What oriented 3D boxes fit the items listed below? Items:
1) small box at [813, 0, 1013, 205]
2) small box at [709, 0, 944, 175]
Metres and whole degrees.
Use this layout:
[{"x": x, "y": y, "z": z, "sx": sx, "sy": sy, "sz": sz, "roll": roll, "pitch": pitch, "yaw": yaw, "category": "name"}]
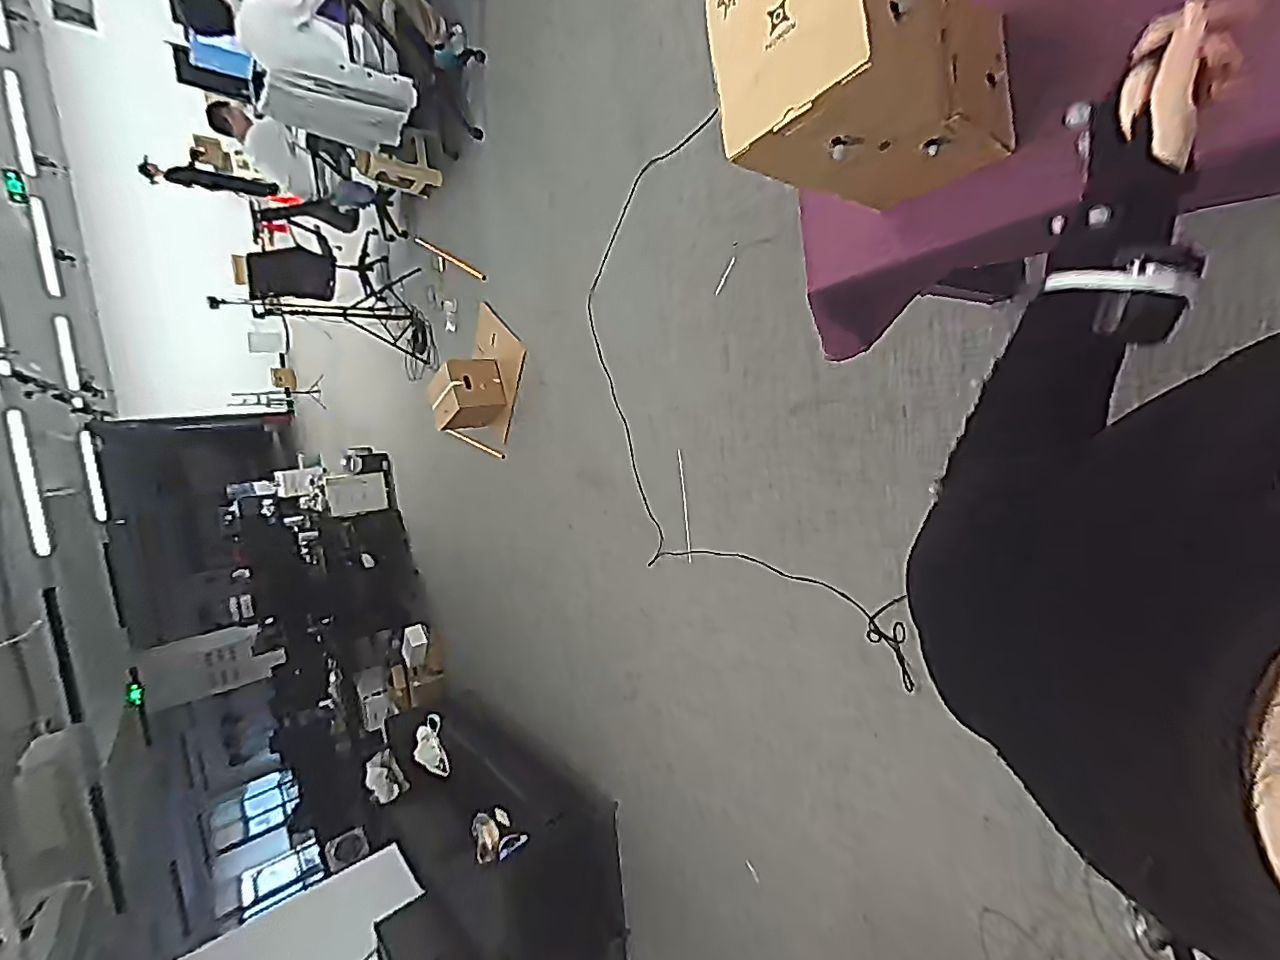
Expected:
[{"x": 0.329, "y": -0.469, "z": 0.672, "sx": 0.179, "sy": 0.176, "sz": 0.168, "roll": -5, "pitch": 94, "yaw": 51, "category": "small box"}, {"x": 0.199, "y": -0.451, "z": 0.573, "sx": 0.168, "sy": 0.176, "sz": 0.179, "roll": -5, "pitch": 94, "yaw": 51, "category": "small box"}]
